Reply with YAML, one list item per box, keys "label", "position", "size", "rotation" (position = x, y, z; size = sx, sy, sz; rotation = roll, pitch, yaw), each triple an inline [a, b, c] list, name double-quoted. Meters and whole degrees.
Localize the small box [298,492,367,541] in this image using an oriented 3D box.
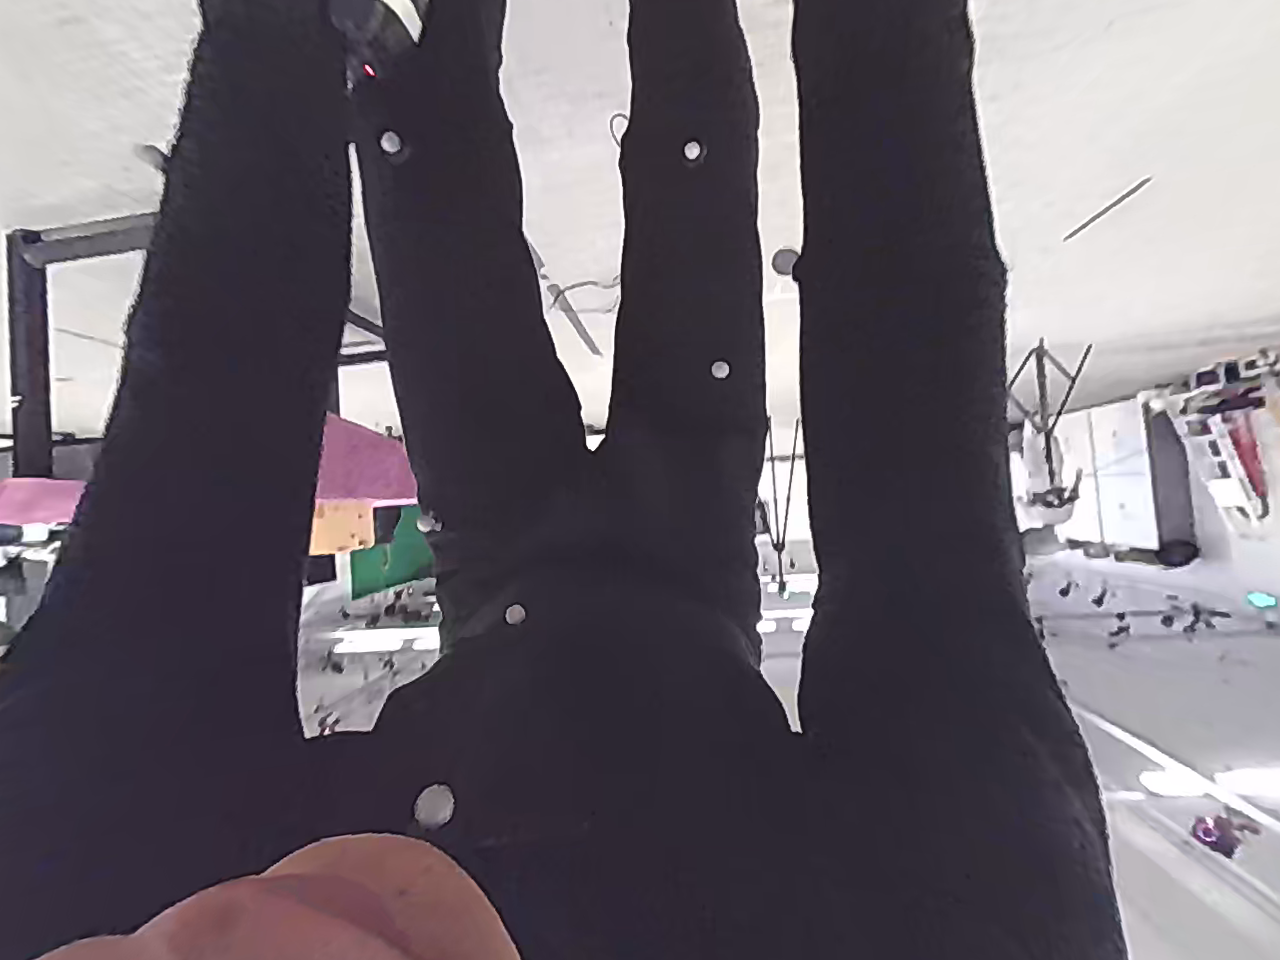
- label: "small box"
  position: [-1.174, 0.137, 2.065]
  size: [0.179, 0.176, 0.168]
  rotation: [-5, 180, 6]
